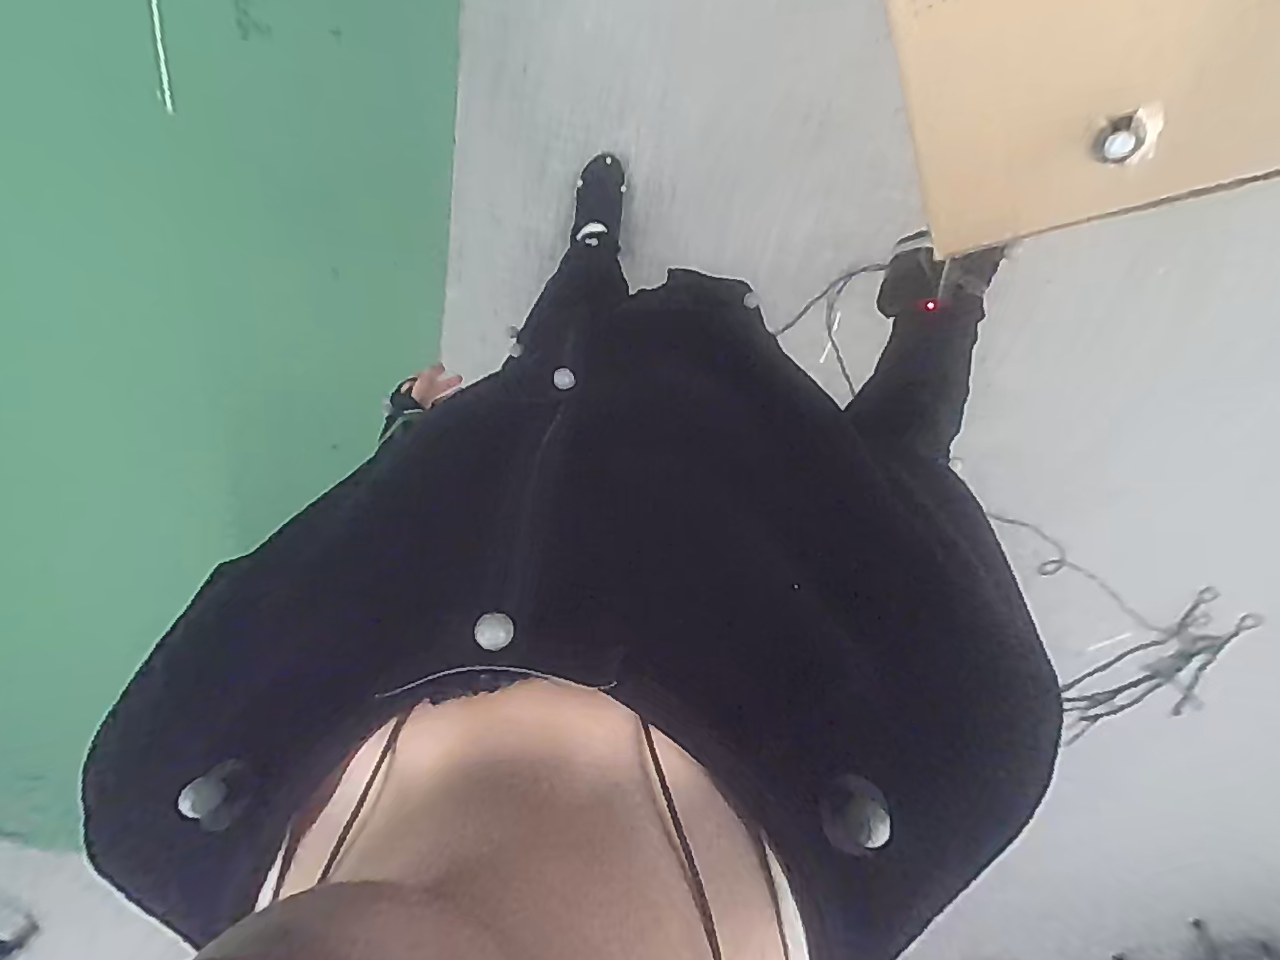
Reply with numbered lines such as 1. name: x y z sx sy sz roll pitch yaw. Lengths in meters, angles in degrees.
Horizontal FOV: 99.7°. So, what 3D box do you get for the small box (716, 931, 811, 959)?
1. small box: 0.282 1.148 1.195 0.179 0.176 0.168 25 112 -7
